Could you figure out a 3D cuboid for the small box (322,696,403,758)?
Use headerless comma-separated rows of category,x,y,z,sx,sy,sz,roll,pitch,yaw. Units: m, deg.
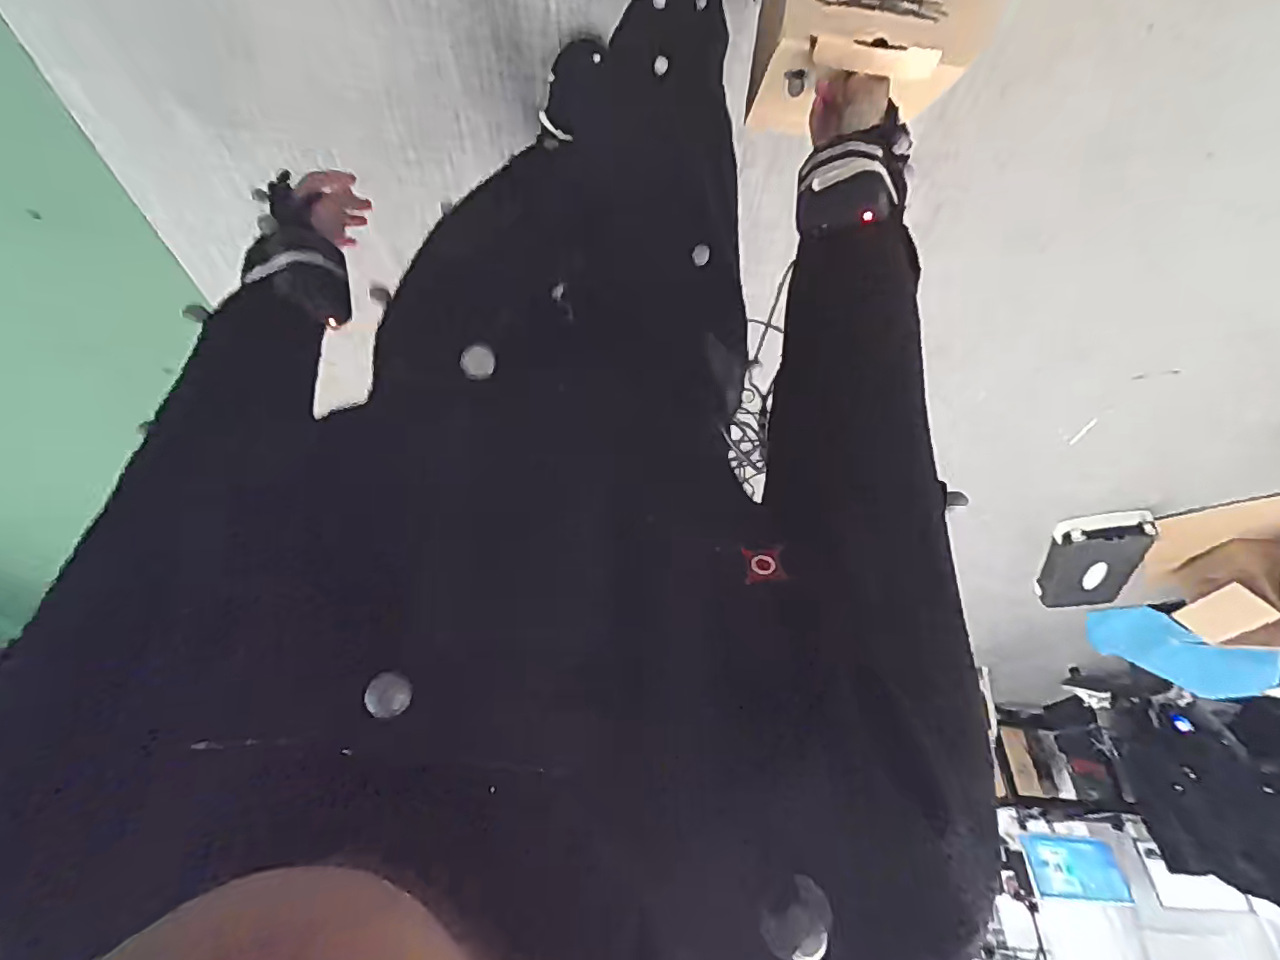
small box,-0.953,0.857,1.874,0.168,0.176,0.179,2,146,5
